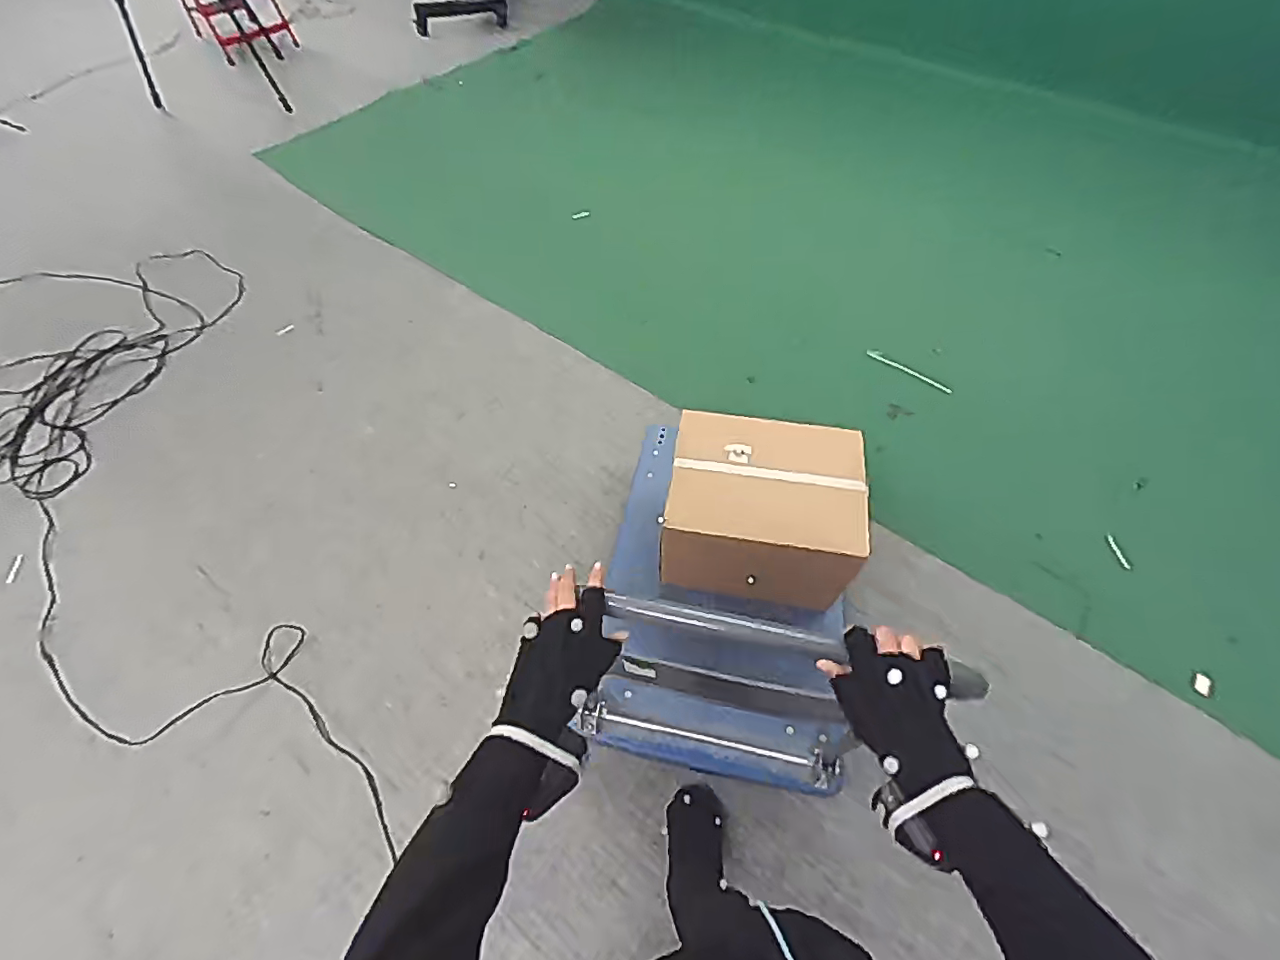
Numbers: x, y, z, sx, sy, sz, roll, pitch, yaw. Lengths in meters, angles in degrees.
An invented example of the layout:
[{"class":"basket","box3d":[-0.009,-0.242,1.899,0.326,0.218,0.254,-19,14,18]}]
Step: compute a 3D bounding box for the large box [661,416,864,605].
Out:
[{"class":"large box","box3d":[0.270,0.078,1.273,0.408,0.320,0.320,7,57,7]}]
